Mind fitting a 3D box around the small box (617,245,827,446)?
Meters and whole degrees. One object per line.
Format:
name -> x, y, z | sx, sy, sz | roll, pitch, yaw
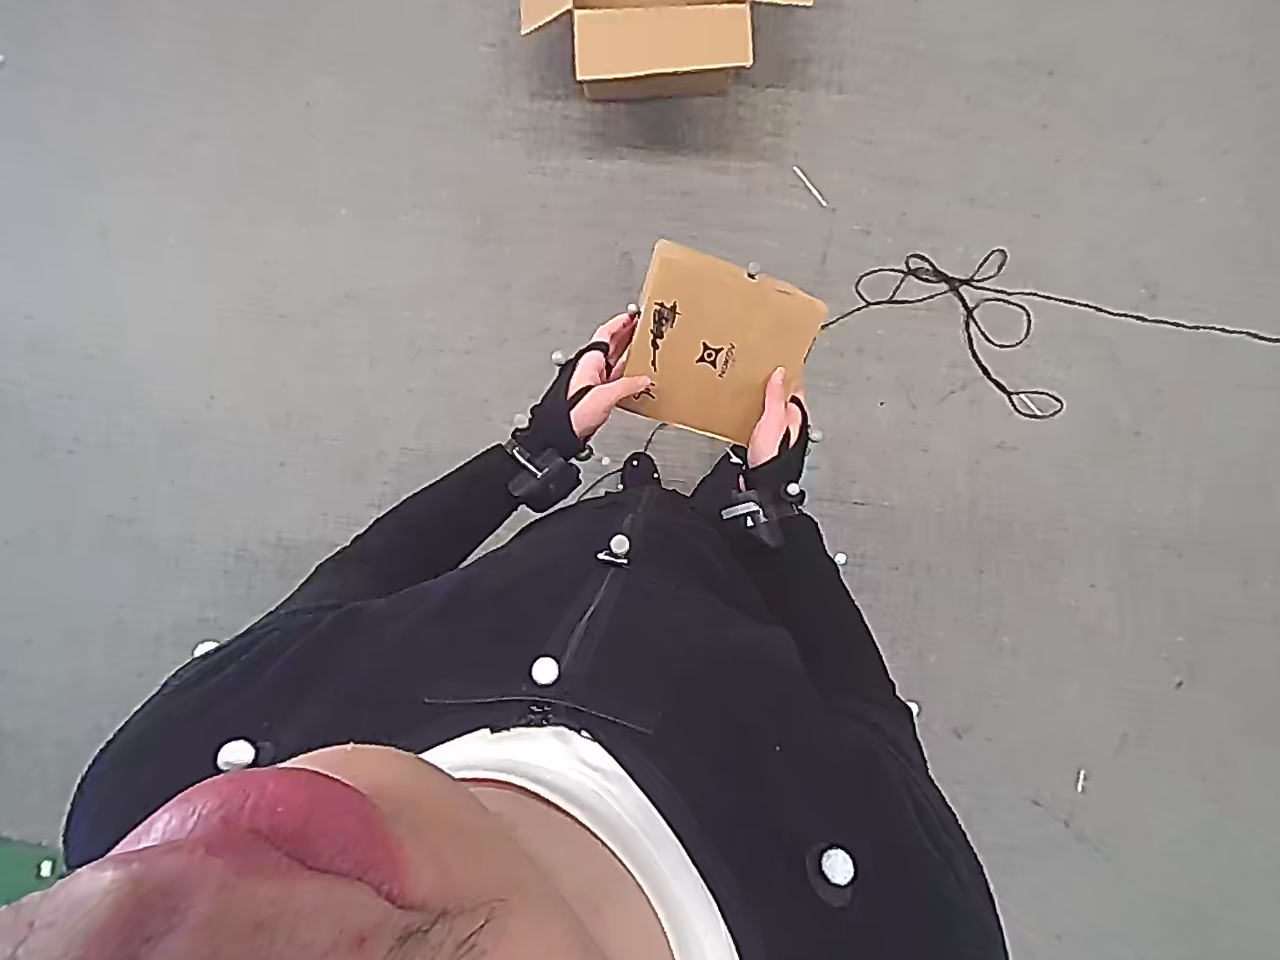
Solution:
small box -> 0.080, -0.164, 0.628 | 0.179, 0.176, 0.168 | 15, 115, -7
